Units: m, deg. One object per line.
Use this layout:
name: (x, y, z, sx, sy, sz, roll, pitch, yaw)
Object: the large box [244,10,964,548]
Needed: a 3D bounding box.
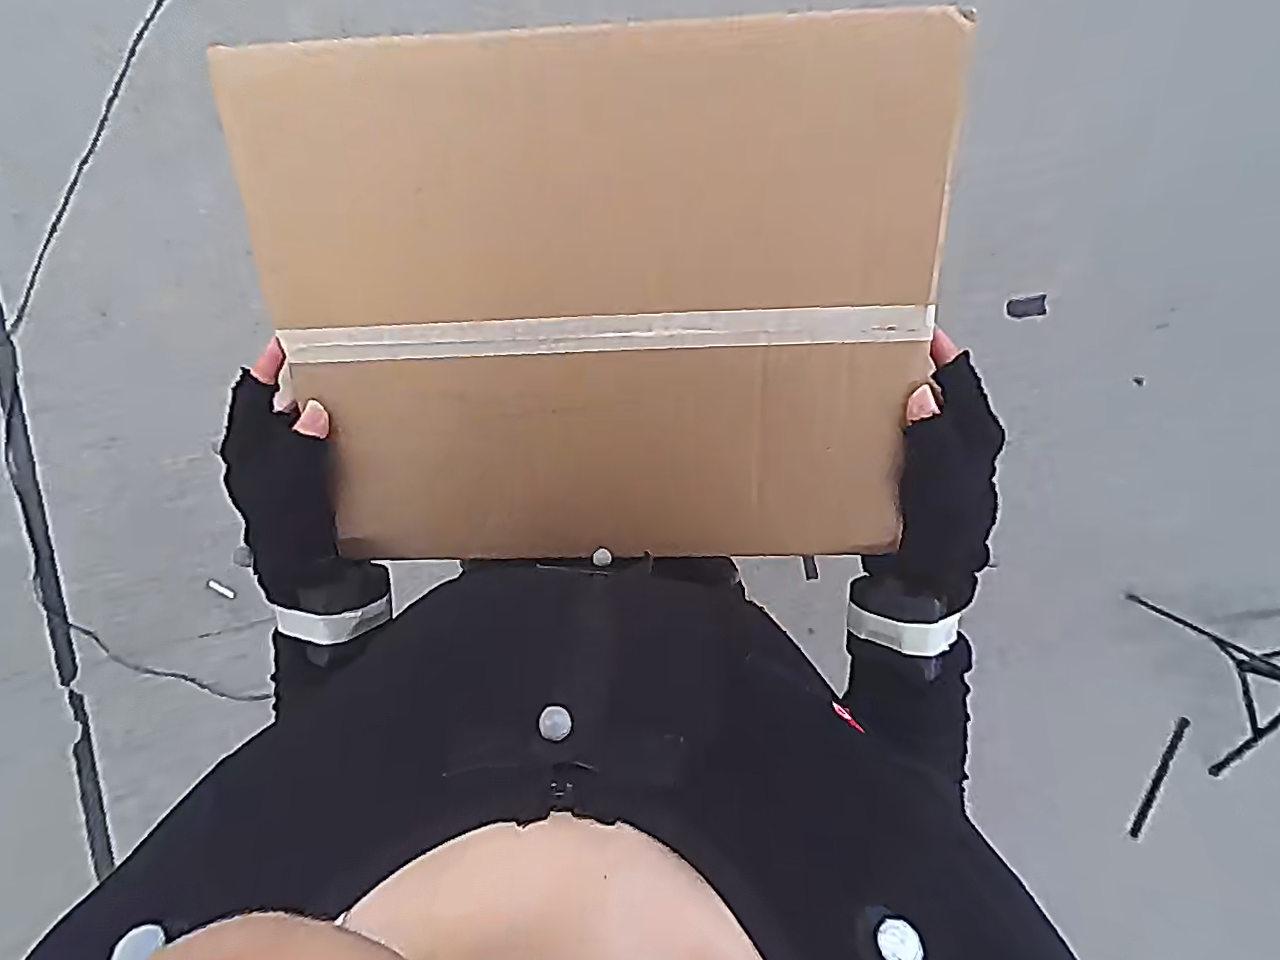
large box: (-0.017, -0.149, 0.483, 0.408, 0.320, 0.320, -1, 112, 3)
